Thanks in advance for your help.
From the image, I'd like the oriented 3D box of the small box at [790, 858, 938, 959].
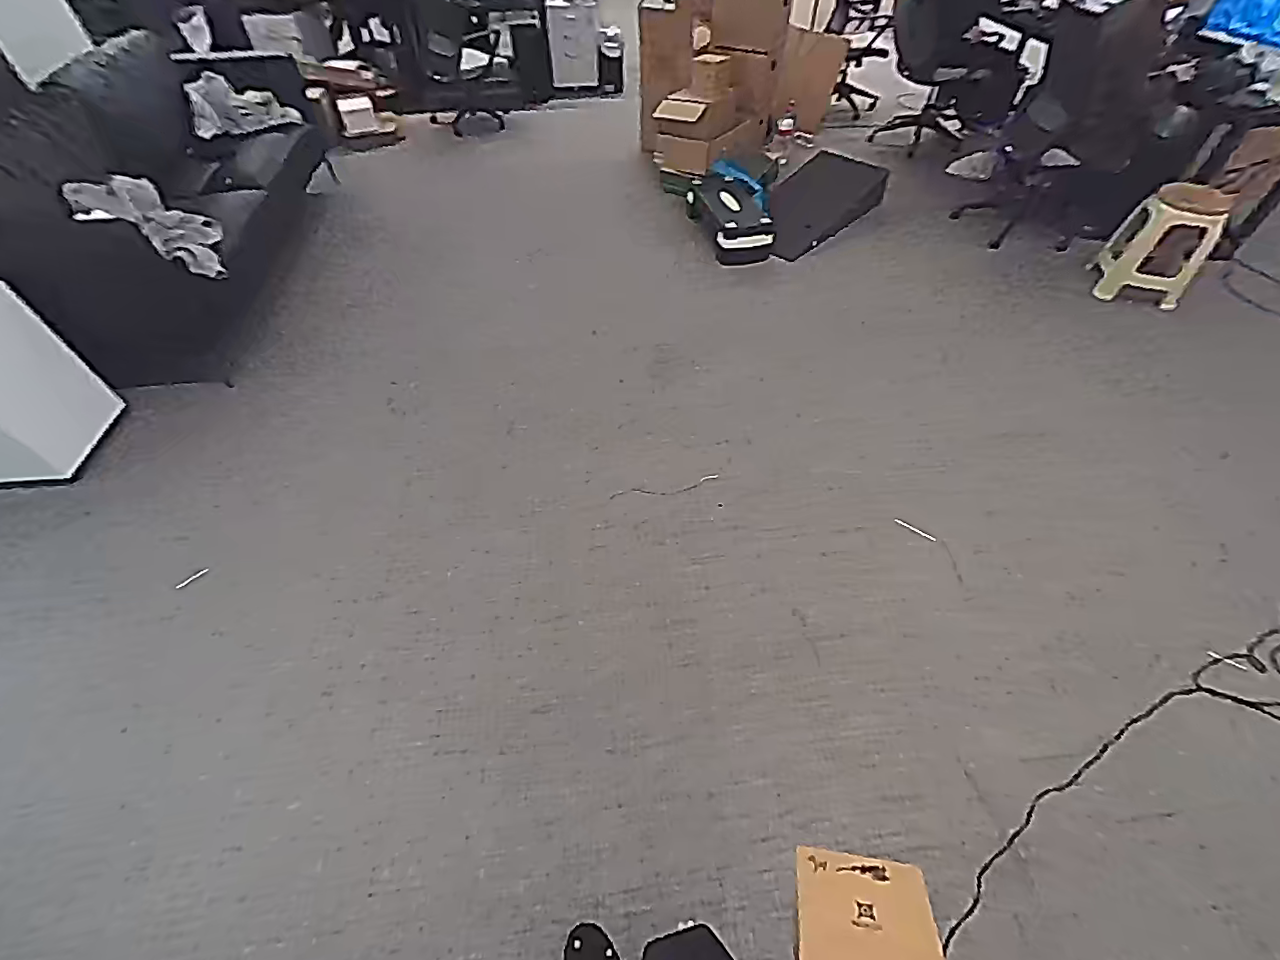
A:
[{"bbox_3d":[0.284,0.639,0.695,0.168,0.176,0.179,-1,14,12],"label":"small box"}]
